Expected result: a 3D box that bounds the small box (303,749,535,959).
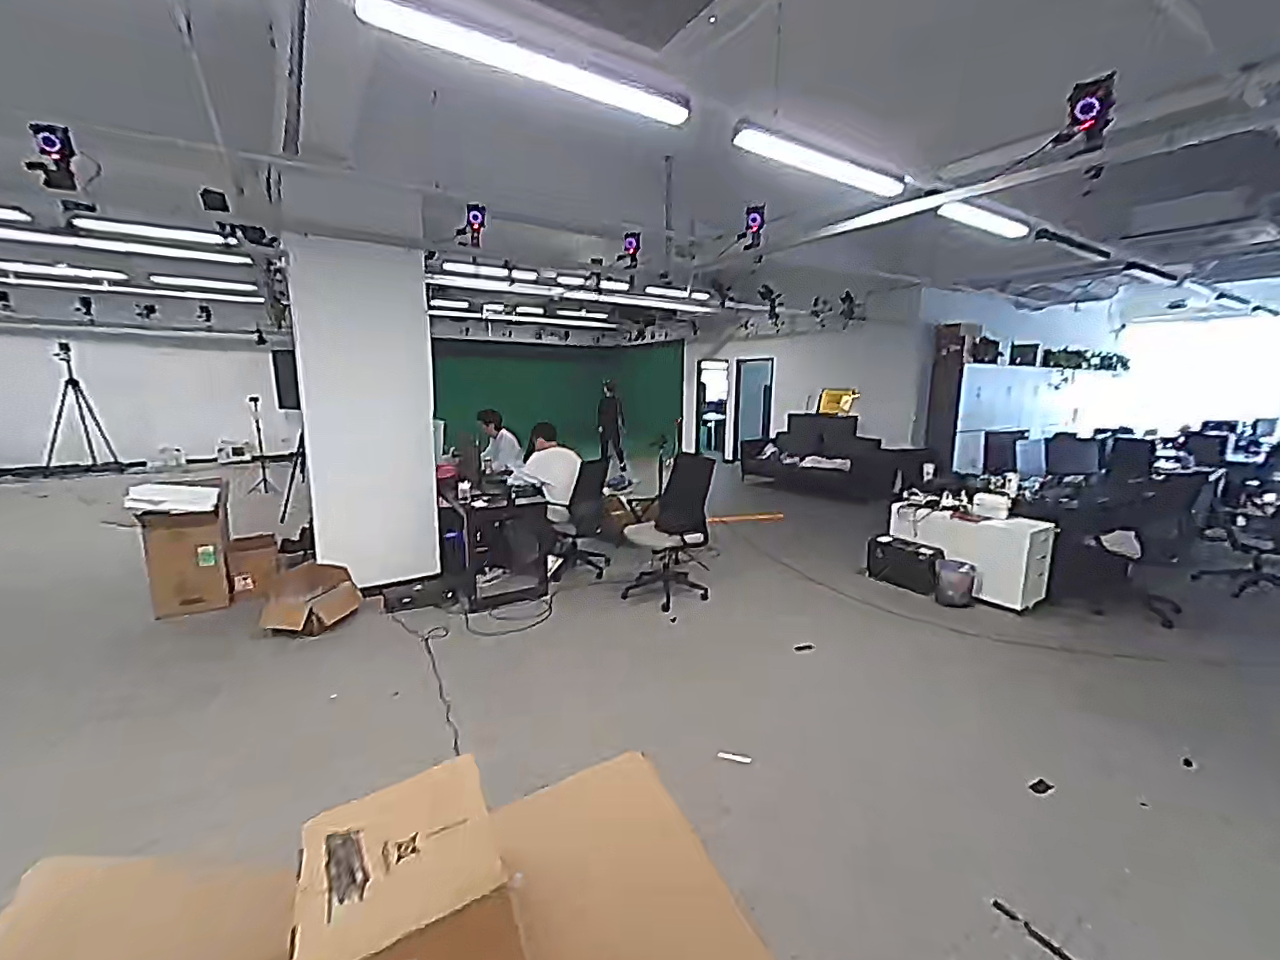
[{"bbox_3d":[-0.226,0.437,0.570,0.179,0.176,0.168,-15,24,-23],"label":"small box"}]
